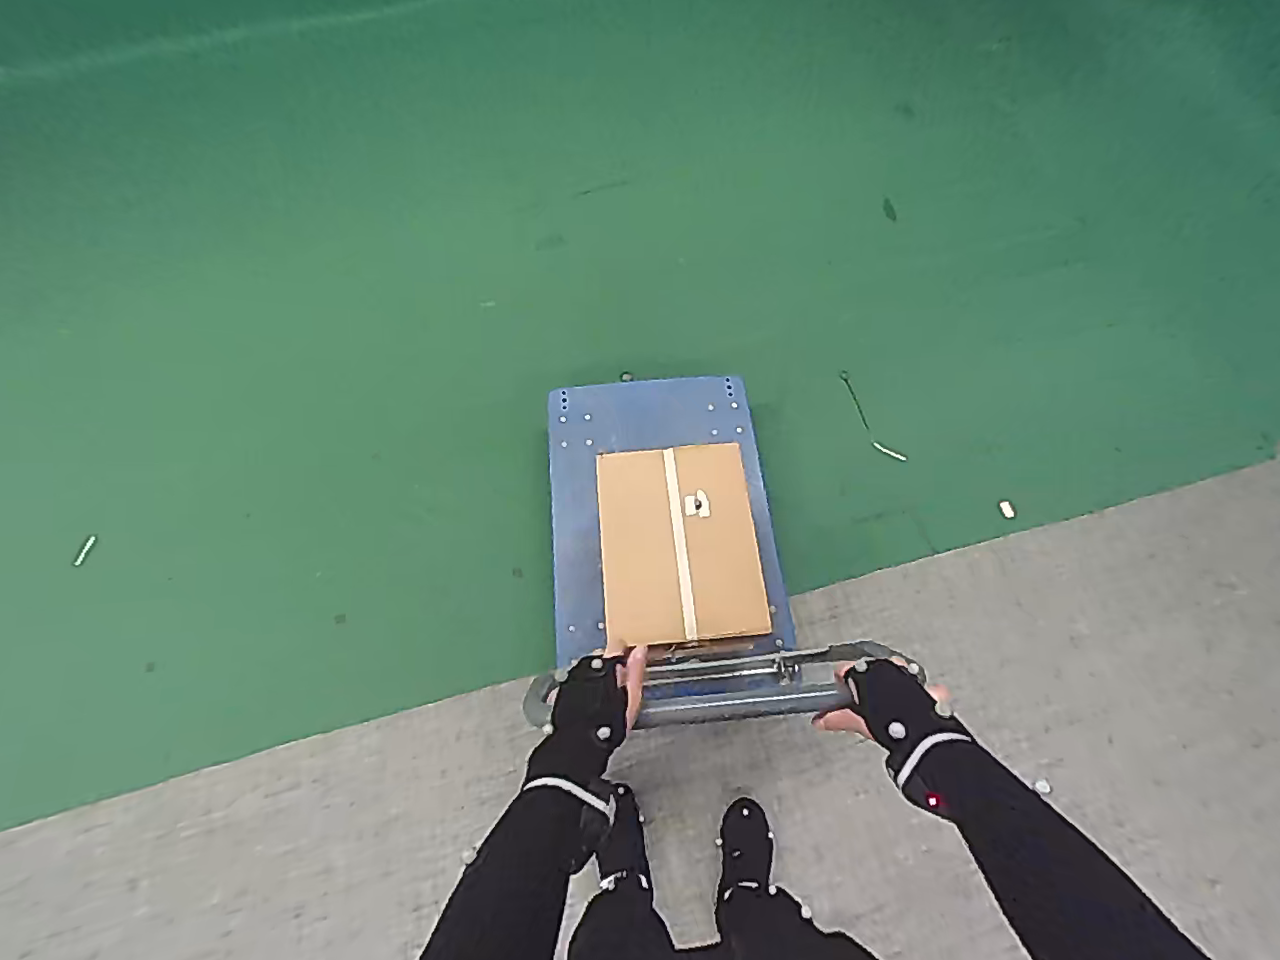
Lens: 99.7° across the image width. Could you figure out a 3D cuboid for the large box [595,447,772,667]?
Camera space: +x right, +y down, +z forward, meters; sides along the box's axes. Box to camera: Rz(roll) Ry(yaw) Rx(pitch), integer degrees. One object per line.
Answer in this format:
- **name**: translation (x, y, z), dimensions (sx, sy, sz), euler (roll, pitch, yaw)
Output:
- **large box**: translation (0.079, 0.185, 1.220), dimensions (0.320, 0.320, 0.408), euler (-5, 66, -2)
